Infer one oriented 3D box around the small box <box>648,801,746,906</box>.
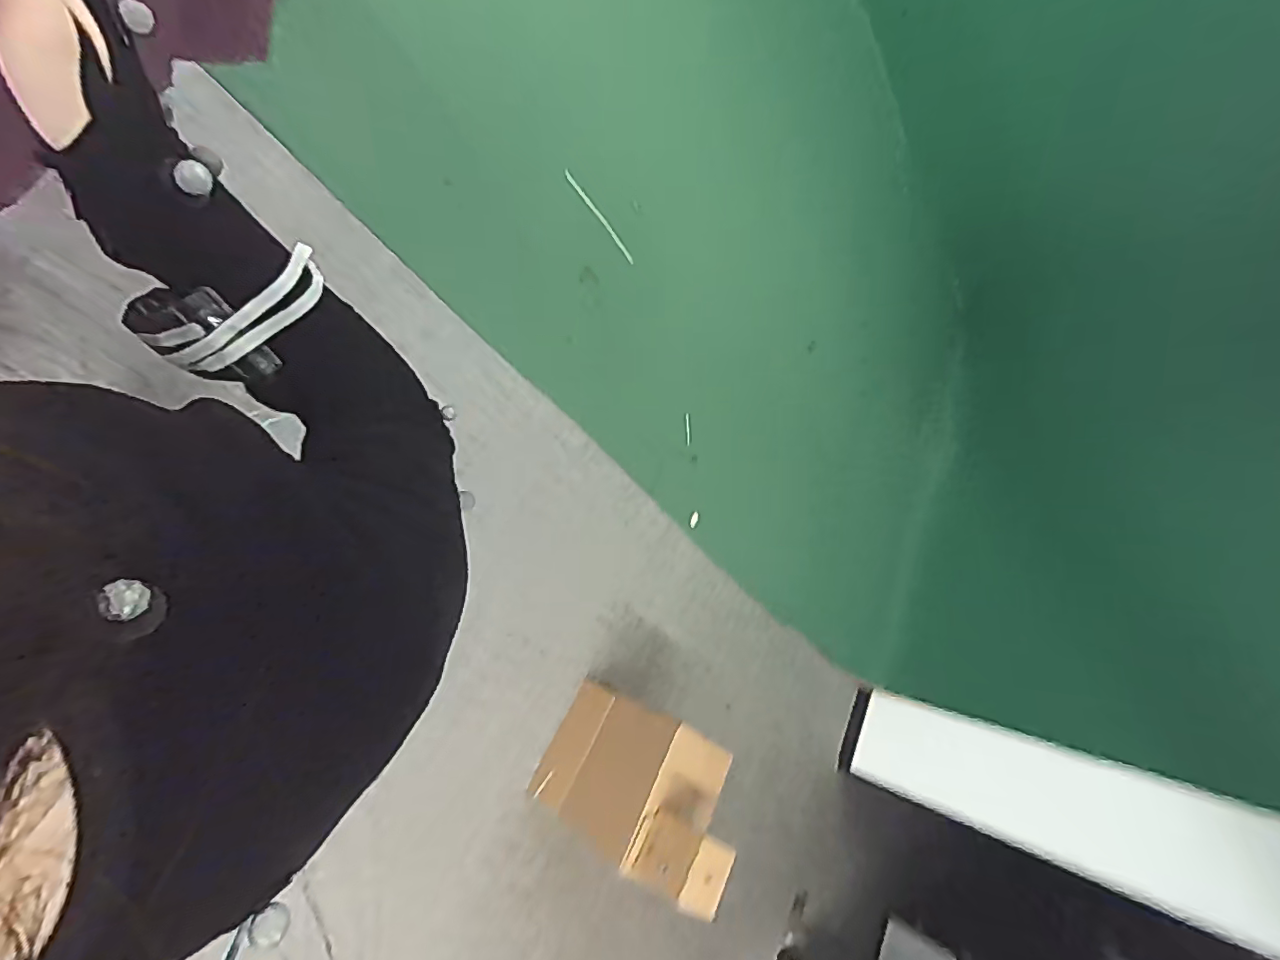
[{"bbox_3d":[0.153,1.010,1.475,0.179,0.176,0.168,47,61,-33],"label":"small box"}]
